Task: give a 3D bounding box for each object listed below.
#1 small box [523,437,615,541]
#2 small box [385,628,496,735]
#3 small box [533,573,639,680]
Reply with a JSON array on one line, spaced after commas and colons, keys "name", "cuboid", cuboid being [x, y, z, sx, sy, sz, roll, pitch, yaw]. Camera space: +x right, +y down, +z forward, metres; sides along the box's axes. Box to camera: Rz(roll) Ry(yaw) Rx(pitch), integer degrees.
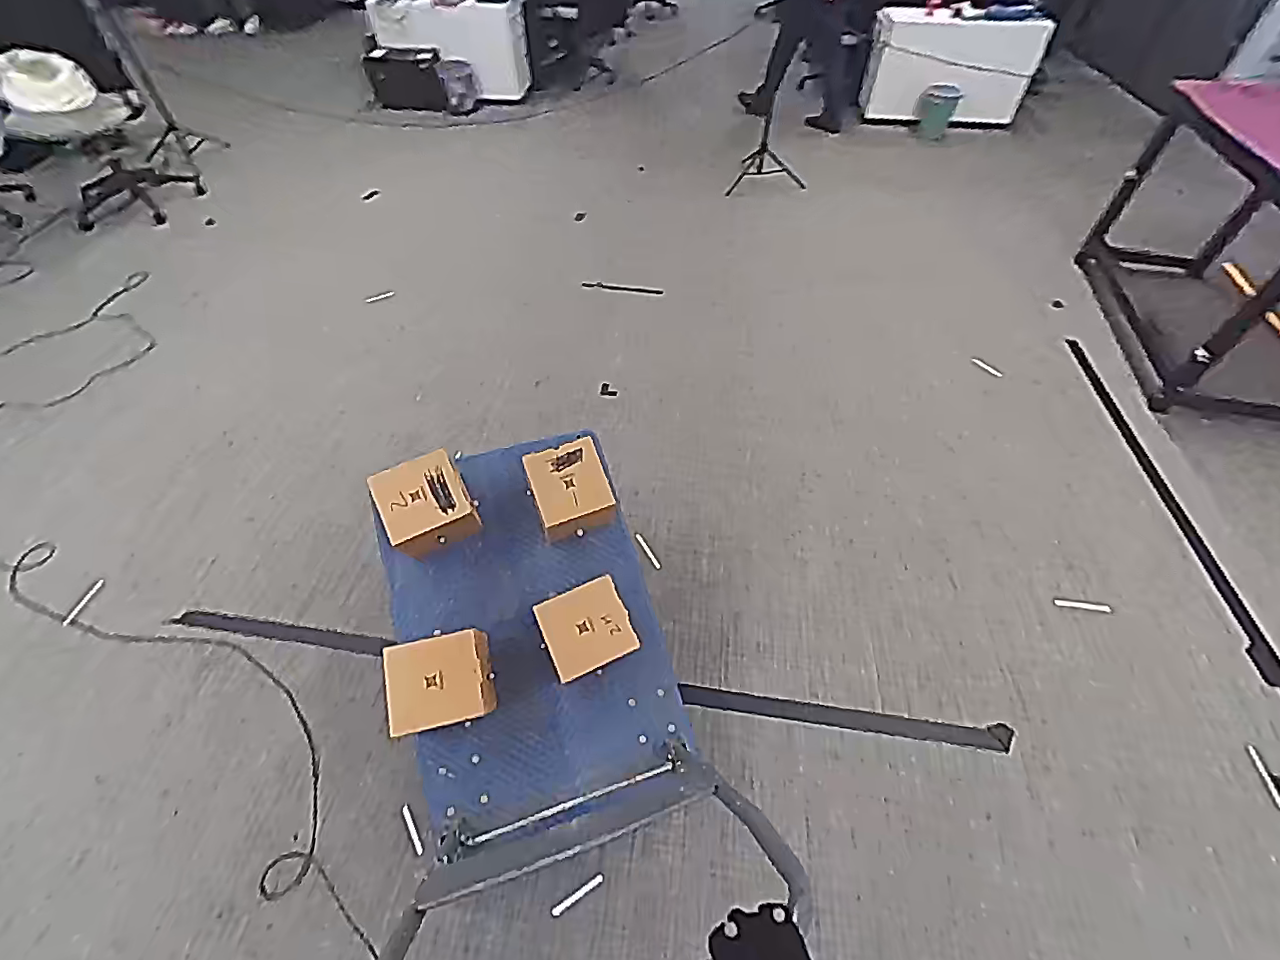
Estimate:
[{"name": "small box", "cuboid": [-0.171, 0.026, 1.284, 0.168, 0.176, 0.179, -19, 75, -13]}, {"name": "small box", "cuboid": [-0.406, 0.415, 1.120, 0.179, 0.176, 0.168, -11, 72, -12]}, {"name": "small box", "cuboid": [-0.118, 0.325, 1.185, 0.179, 0.176, 0.168, -22, 75, -13]}]
